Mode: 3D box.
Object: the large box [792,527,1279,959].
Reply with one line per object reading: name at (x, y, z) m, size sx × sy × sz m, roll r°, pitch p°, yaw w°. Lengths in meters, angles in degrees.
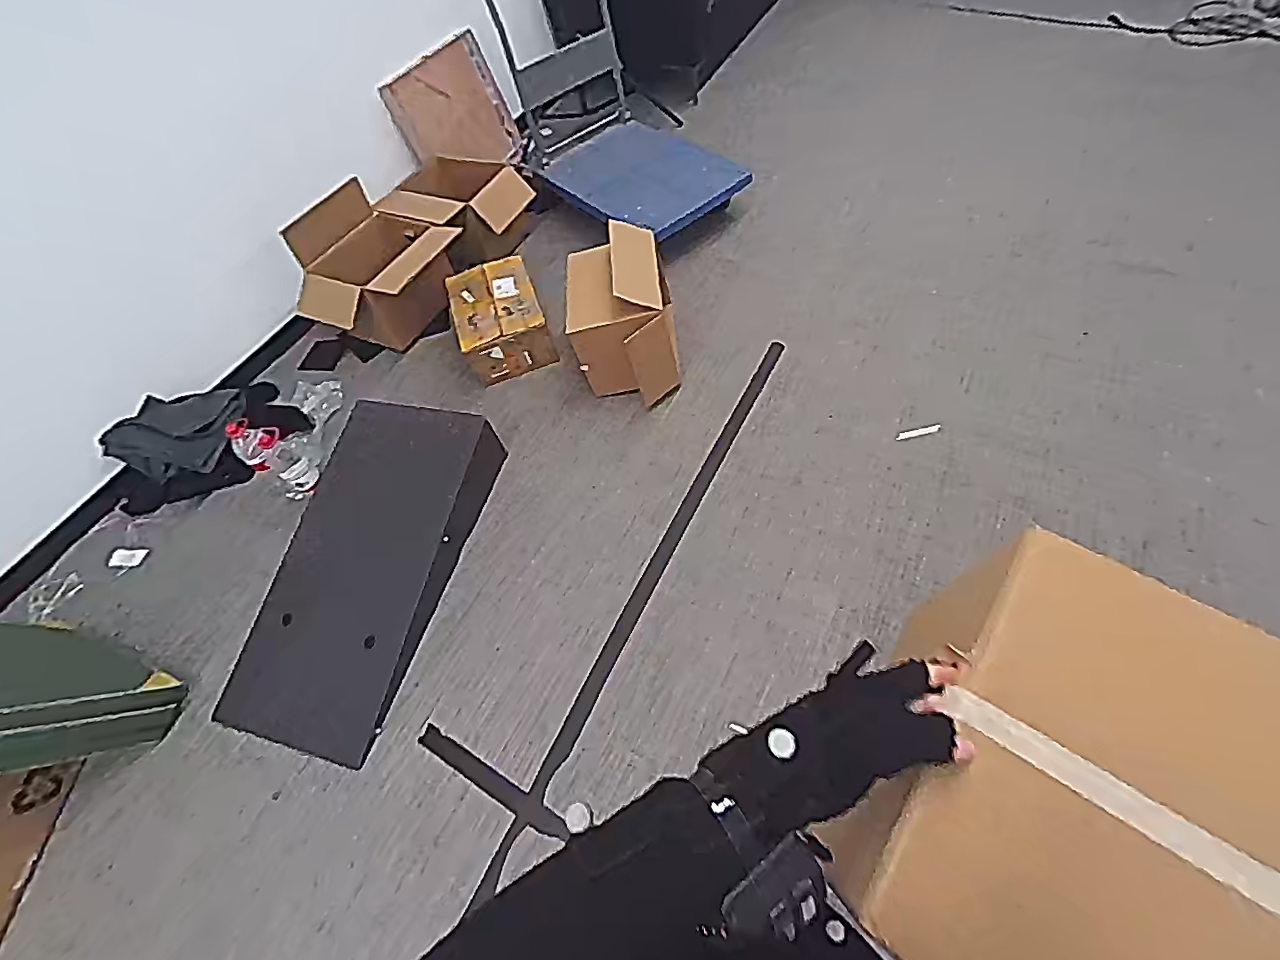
large box at (0.397, 0.306, 0.465) m, size 0.408 × 0.320 × 0.320 m, roll 30°, pitch 72°, yaw 19°
